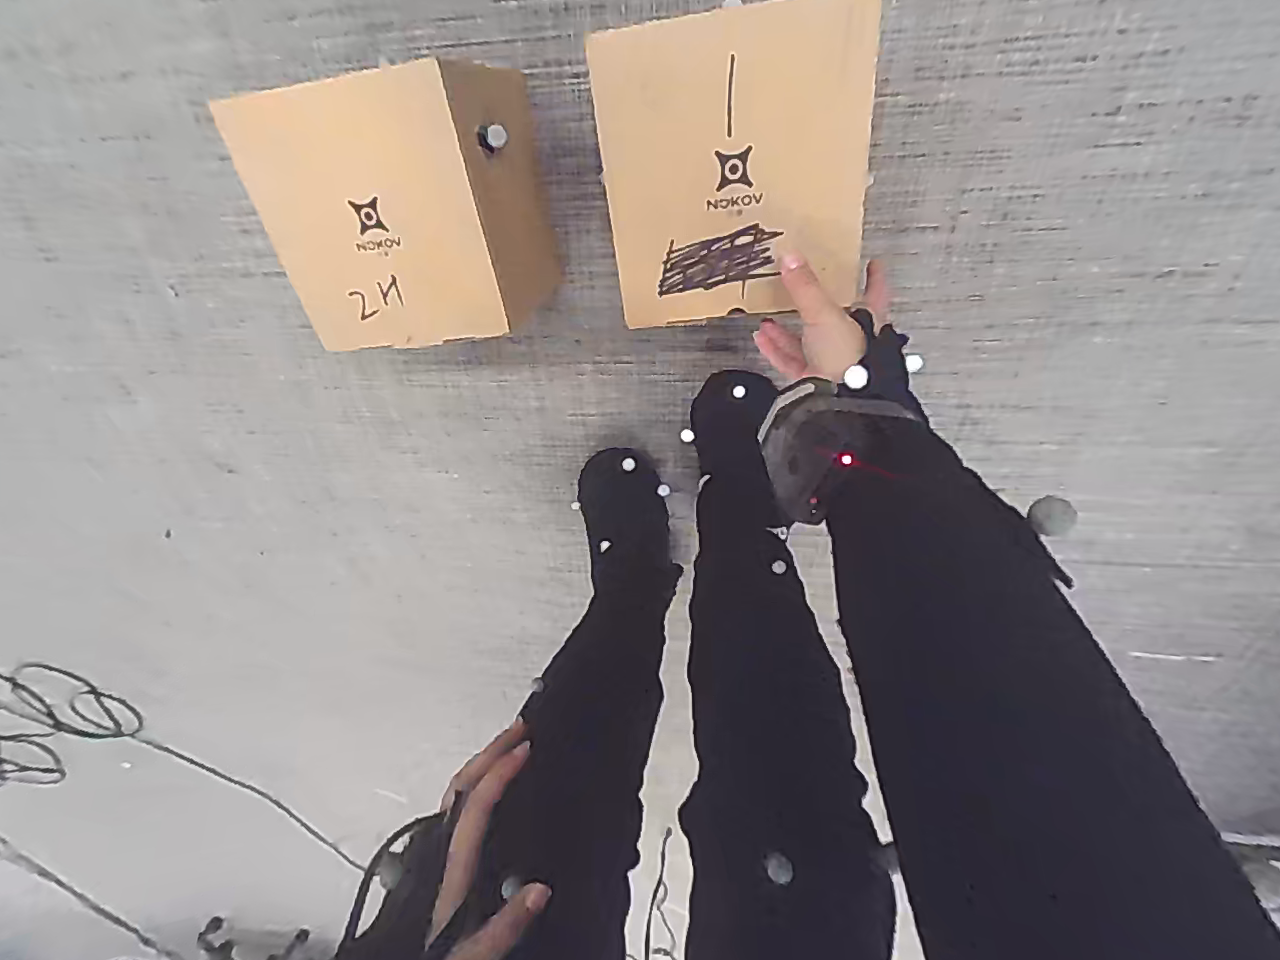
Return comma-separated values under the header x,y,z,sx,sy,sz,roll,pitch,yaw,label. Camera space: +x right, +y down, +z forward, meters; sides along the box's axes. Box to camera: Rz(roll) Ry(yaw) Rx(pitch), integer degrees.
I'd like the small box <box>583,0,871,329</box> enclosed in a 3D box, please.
x,y,z,sx,sy,sz,roll,pitch,yaw,label
0.065,-0.234,0.417,0.168,0.176,0.179,-3,123,9,small box

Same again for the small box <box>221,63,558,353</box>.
x,y,z,sx,sy,sz,roll,pitch,yaw,label
-0.181,-0.226,0.457,0.168,0.176,0.179,-2,124,11,small box
